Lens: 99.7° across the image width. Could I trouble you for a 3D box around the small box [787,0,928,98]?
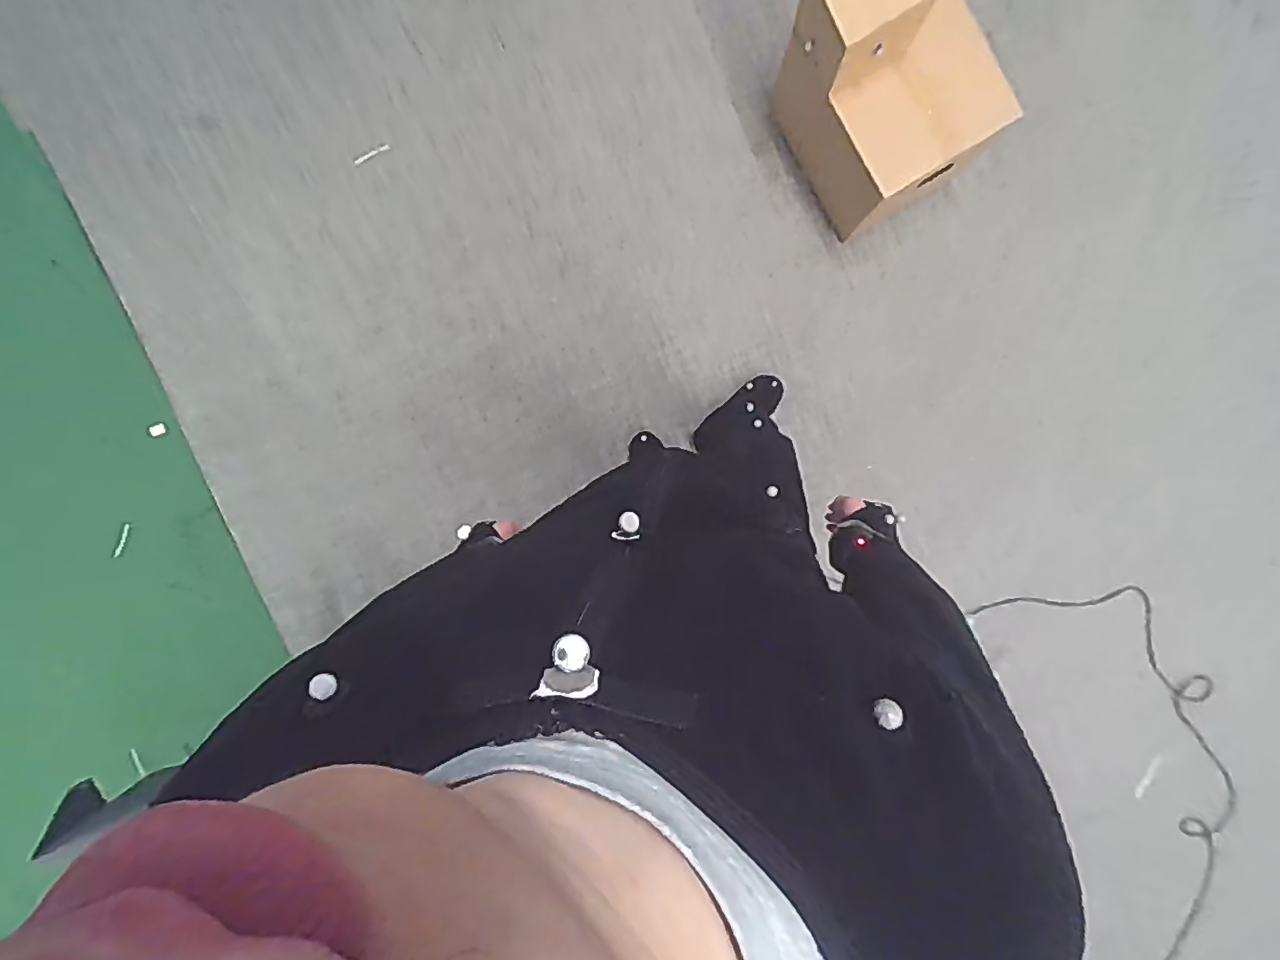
[{"bbox_3d":[0.400,-0.886,1.025,0.179,0.176,0.168,-26,94,9],"label":"small box"}]
